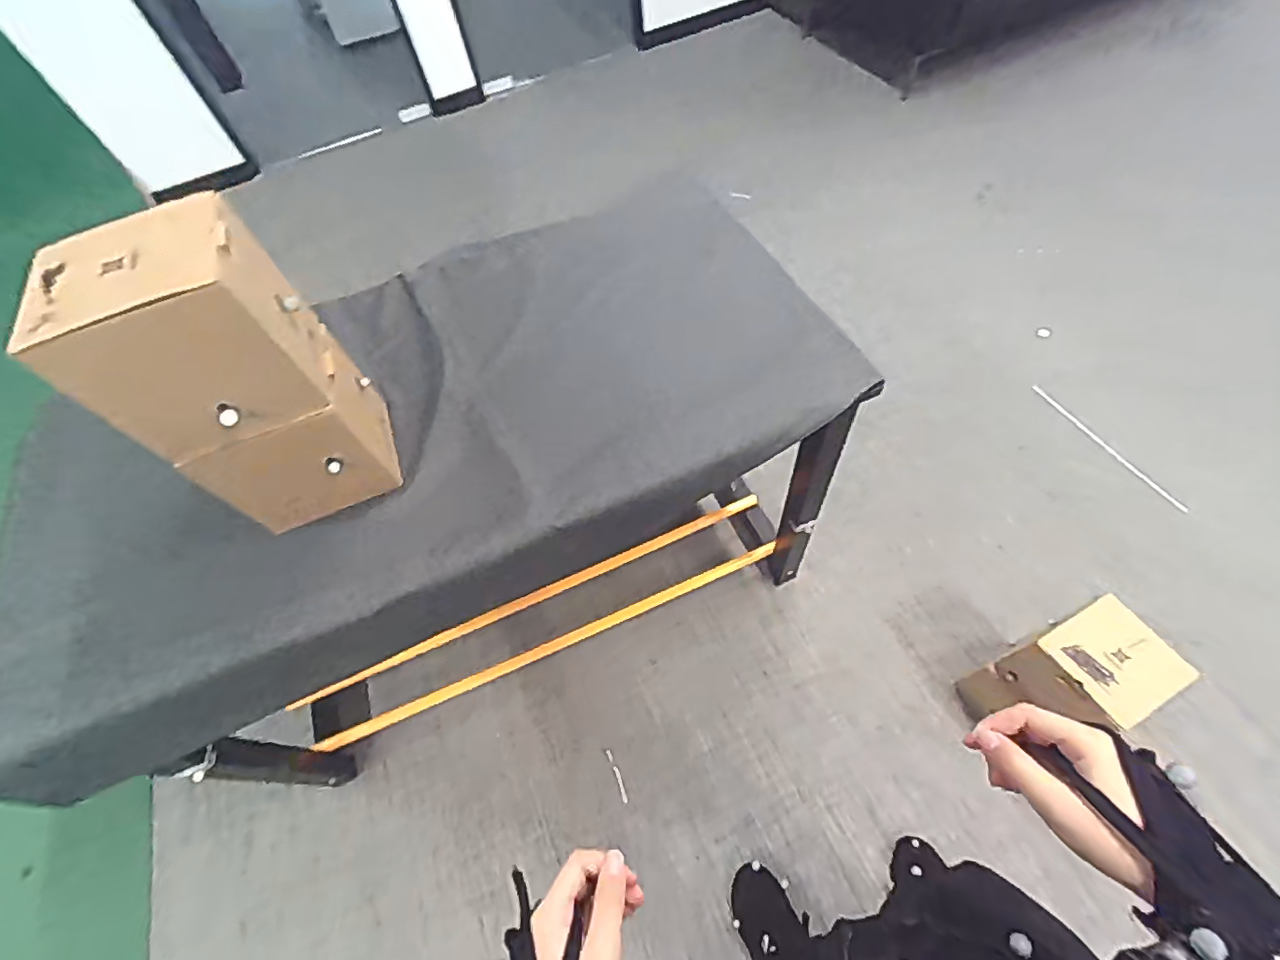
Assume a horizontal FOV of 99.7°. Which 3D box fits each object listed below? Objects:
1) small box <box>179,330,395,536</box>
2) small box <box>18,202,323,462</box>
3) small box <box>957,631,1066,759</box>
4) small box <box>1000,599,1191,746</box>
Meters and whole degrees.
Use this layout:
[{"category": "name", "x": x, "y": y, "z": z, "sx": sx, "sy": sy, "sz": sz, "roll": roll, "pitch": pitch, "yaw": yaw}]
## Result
[{"category": "small box", "x": -0.441, "y": -0.056, "z": 0.703, "sx": 0.179, "sy": 0.176, "sz": 0.168, "roll": -23, "pitch": 57, "yaw": -8}, {"category": "small box", "x": -0.462, "y": -0.150, "z": 0.569, "sx": 0.179, "sy": 0.176, "sz": 0.168, "roll": -23, "pitch": 57, "yaw": -9}, {"category": "small box", "x": 0.796, "y": 0.442, "z": 1.104, "sx": 0.179, "sy": 0.176, "sz": 0.168, "roll": -28, "pitch": 58, "yaw": -11}, {"category": "small box", "x": 0.791, "y": 0.350, "z": 0.968, "sx": 0.179, "sy": 0.176, "sz": 0.168, "roll": -27, "pitch": 59, "yaw": -12}]
